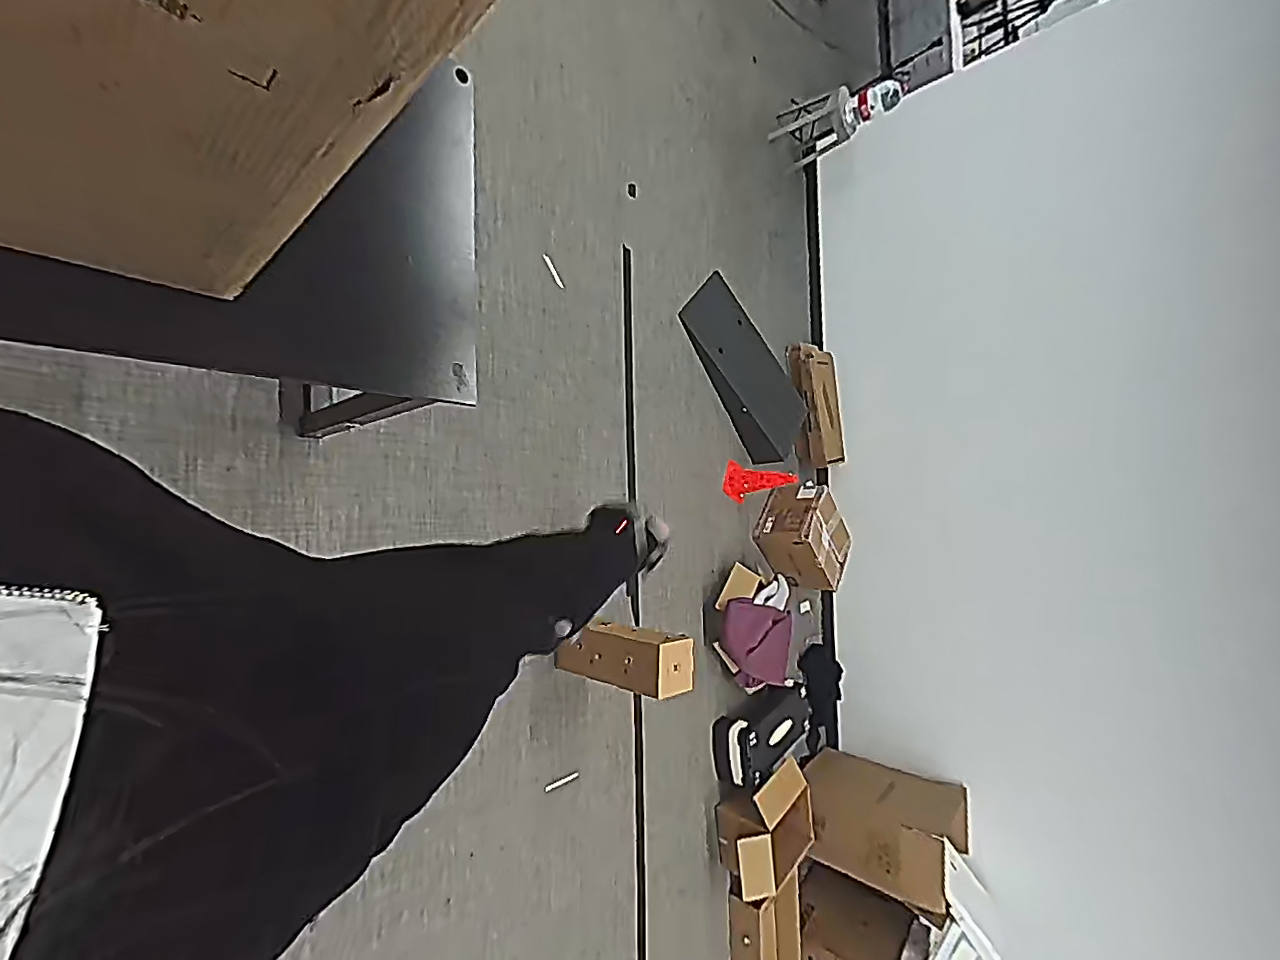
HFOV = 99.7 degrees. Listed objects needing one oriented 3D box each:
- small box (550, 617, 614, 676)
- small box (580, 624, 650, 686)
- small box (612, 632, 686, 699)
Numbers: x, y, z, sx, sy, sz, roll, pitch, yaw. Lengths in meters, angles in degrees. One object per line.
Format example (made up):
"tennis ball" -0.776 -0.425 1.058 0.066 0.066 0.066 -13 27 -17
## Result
"small box" -0.212 0.599 1.972 0.168 0.176 0.179 9 82 -48
"small box" -0.084 0.599 1.867 0.179 0.176 0.168 8 81 -48
"small box" 0.030 0.592 1.751 0.179 0.176 0.168 8 81 -48
